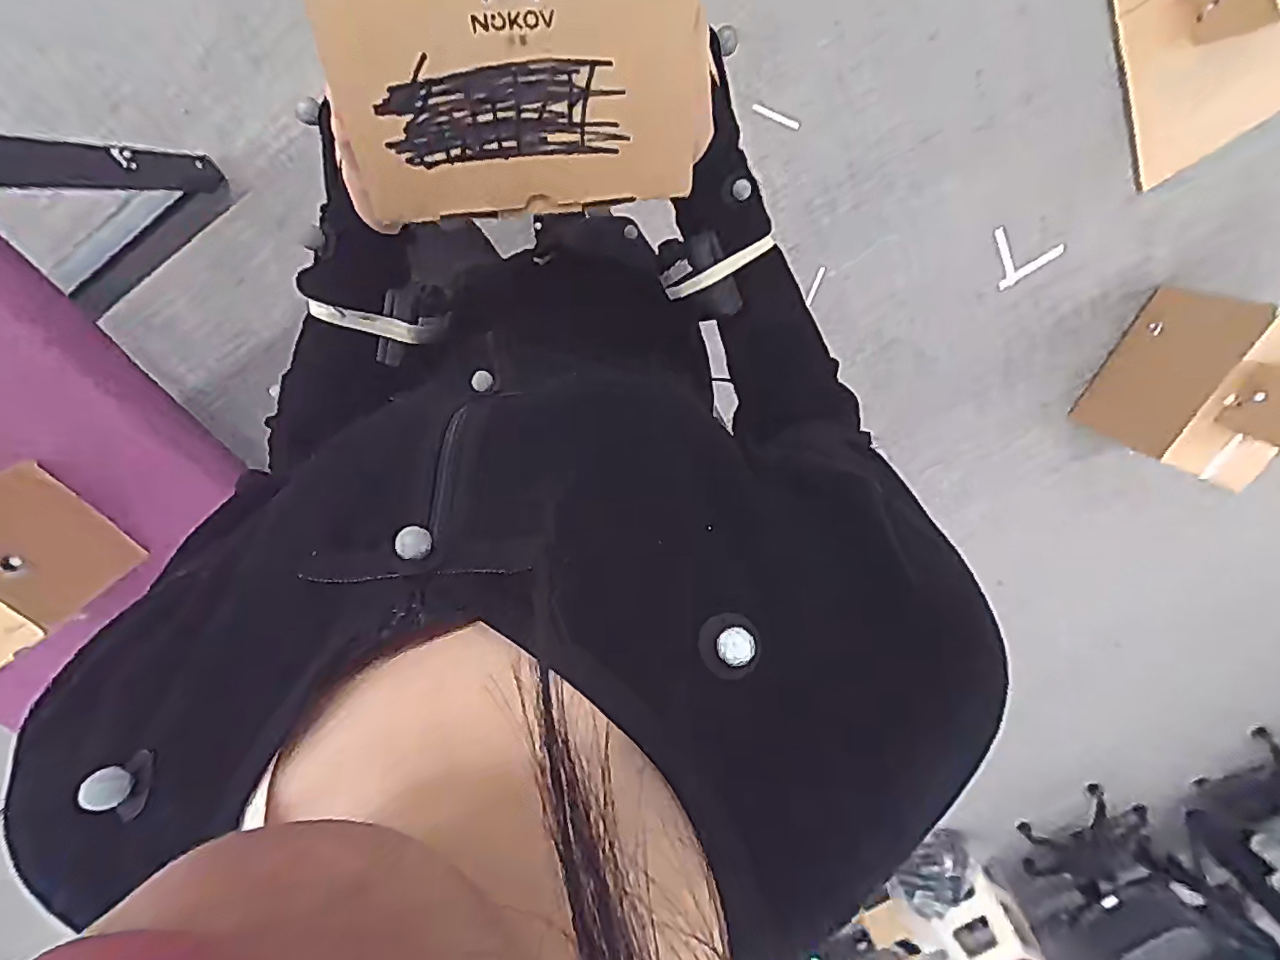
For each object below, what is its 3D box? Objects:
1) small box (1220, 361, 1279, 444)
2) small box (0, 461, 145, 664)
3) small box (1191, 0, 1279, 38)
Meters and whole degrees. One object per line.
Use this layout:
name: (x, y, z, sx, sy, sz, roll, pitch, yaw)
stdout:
small box: (1.521, -0.158, 1.234, 0.179, 0.176, 0.168, 14, 115, -12)
small box: (-0.787, 0.108, 0.663, 0.168, 0.176, 0.179, -29, 116, 8)
small box: (1.273, -1.050, 1.083, 0.179, 0.176, 0.168, -39, 112, 14)
